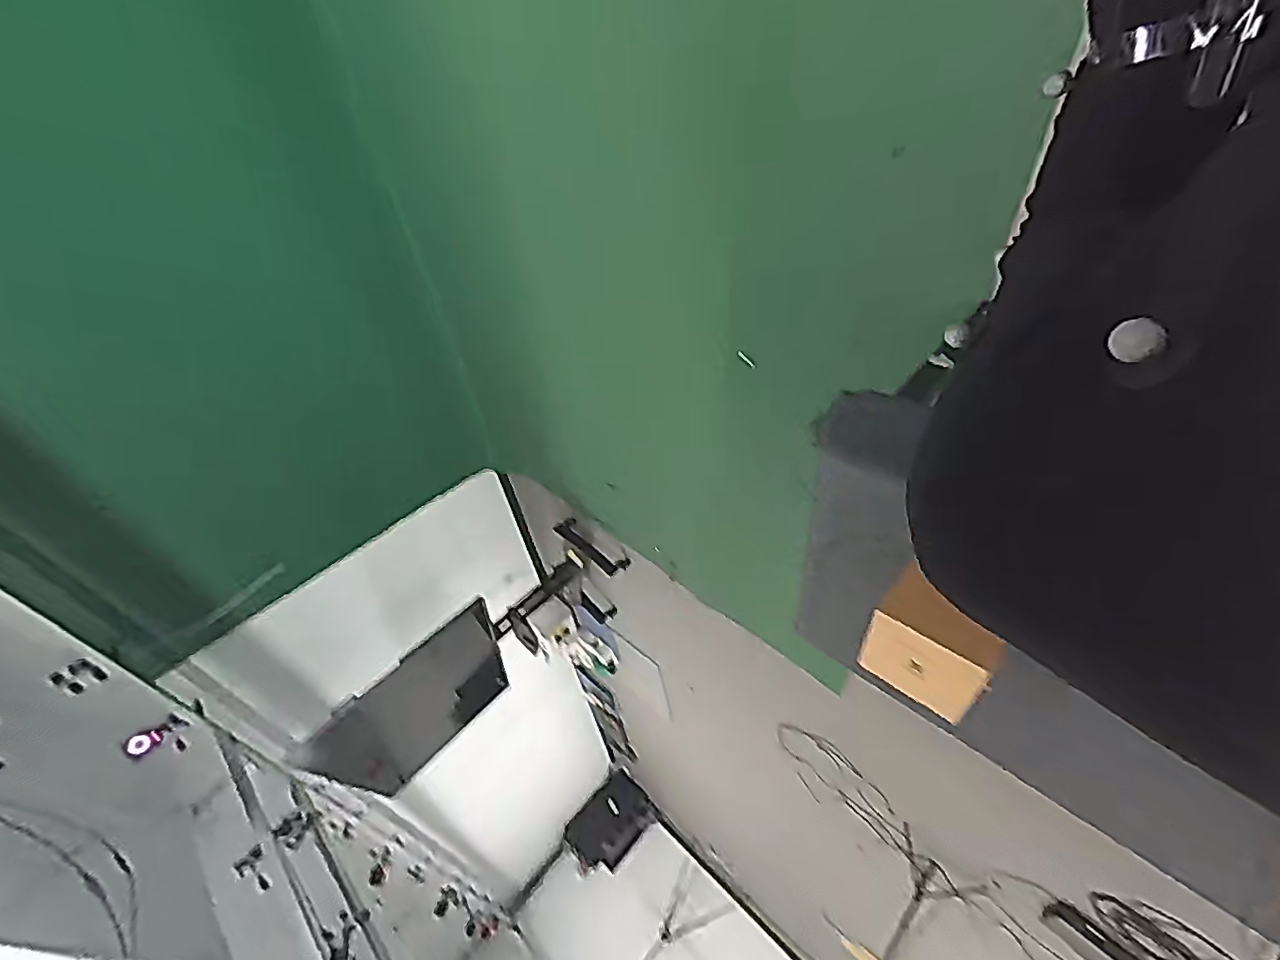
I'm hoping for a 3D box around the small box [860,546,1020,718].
[{"bbox_3d":[0.492,0.245,0.895,0.168,0.176,0.179,28,143,33],"label":"small box"}]
